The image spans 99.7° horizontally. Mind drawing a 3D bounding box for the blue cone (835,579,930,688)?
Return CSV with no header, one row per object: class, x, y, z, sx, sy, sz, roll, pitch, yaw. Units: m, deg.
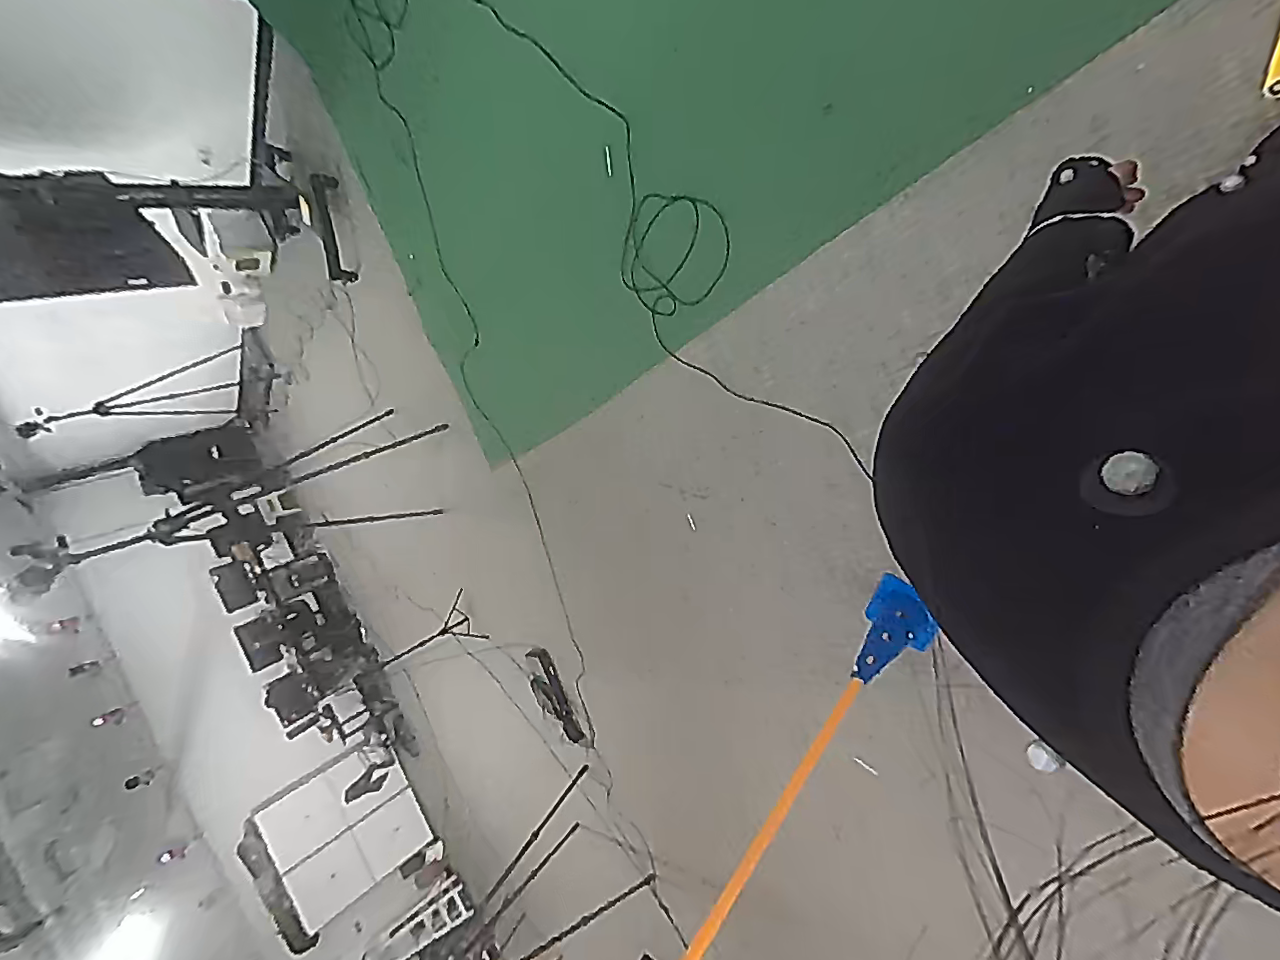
blue cone,0.668,0.474,1.553,0.192,0.380,0.193,31,131,31
